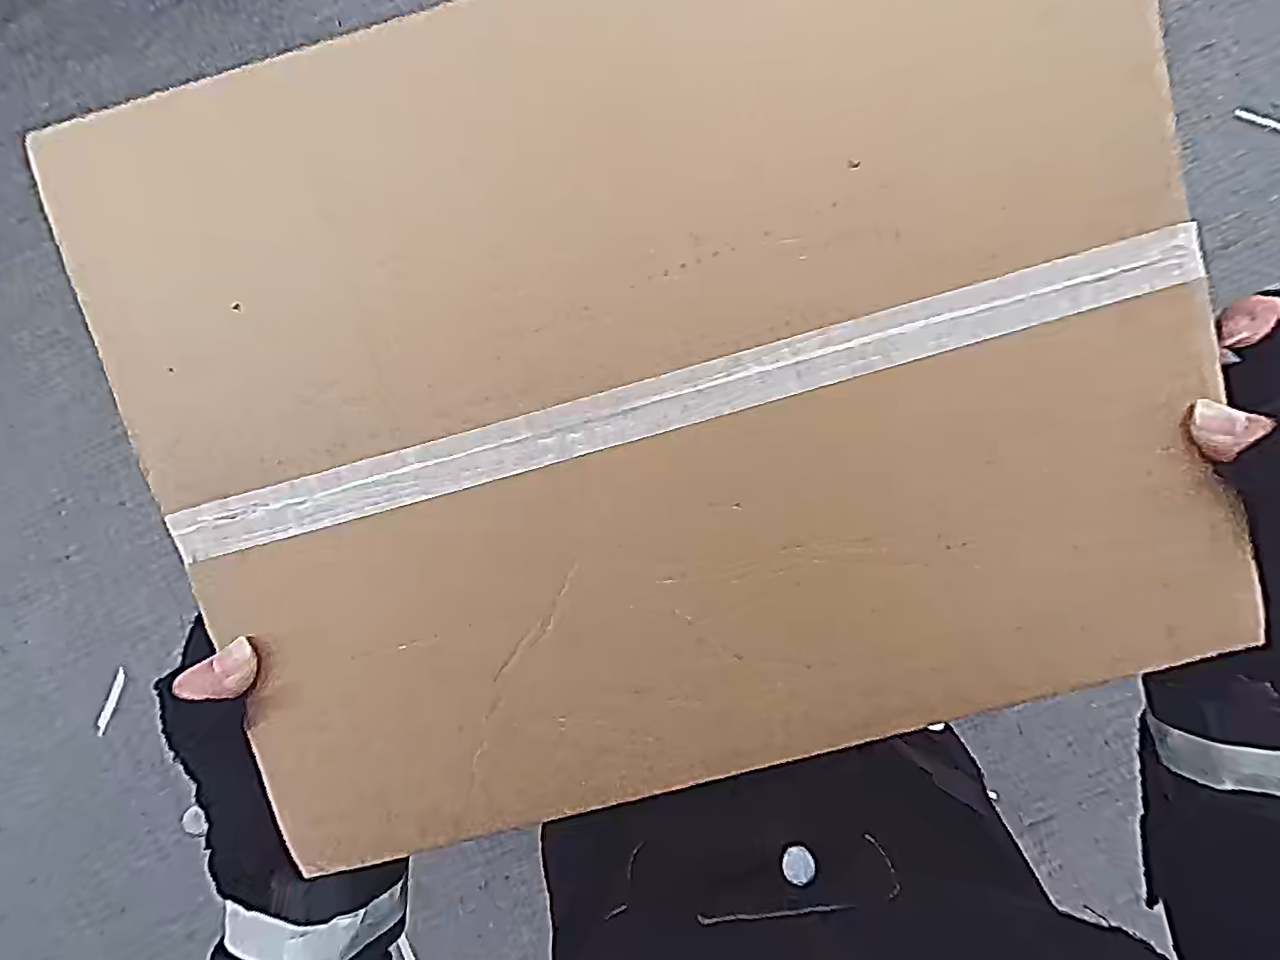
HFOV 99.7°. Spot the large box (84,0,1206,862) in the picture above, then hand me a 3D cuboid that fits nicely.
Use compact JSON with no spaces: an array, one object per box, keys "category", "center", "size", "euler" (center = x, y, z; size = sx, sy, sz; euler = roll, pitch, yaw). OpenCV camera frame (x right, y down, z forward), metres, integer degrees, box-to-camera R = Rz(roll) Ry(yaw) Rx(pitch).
[{"category":"large box","center":[0.012,-0.044,0.369],"size":[0.408,0.320,0.320],"euler":[-16,95,2]}]
